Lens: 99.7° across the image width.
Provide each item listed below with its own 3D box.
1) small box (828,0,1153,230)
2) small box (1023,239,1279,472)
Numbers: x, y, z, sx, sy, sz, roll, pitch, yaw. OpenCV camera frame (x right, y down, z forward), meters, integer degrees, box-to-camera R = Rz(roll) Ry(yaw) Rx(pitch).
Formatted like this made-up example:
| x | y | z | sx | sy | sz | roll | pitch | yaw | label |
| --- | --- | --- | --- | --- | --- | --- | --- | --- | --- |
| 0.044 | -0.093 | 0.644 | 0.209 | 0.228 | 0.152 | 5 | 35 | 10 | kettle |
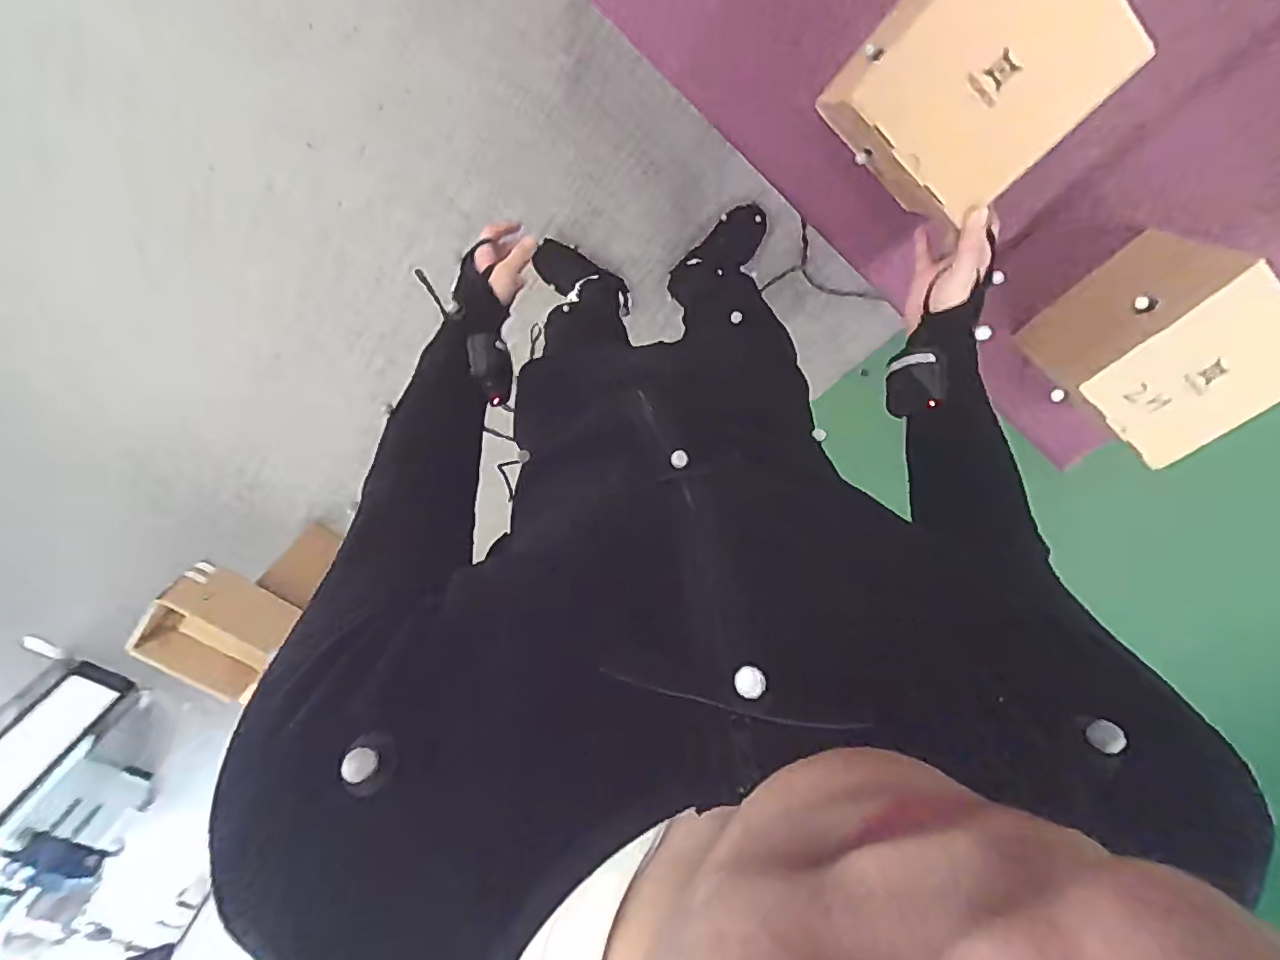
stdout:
| x | y | z | sx | sy | sz | roll | pitch | yaw | label |
| --- | --- | --- | --- | --- | --- | --- | --- | --- | --- |
| 0.308 | -0.382 | 0.520 | 0.168 | 0.176 | 0.179 | 36 | 122 | -16 | small box |
| 0.605 | -0.150 | 0.630 | 0.168 | 0.176 | 0.179 | 37 | 122 | -14 | small box |
